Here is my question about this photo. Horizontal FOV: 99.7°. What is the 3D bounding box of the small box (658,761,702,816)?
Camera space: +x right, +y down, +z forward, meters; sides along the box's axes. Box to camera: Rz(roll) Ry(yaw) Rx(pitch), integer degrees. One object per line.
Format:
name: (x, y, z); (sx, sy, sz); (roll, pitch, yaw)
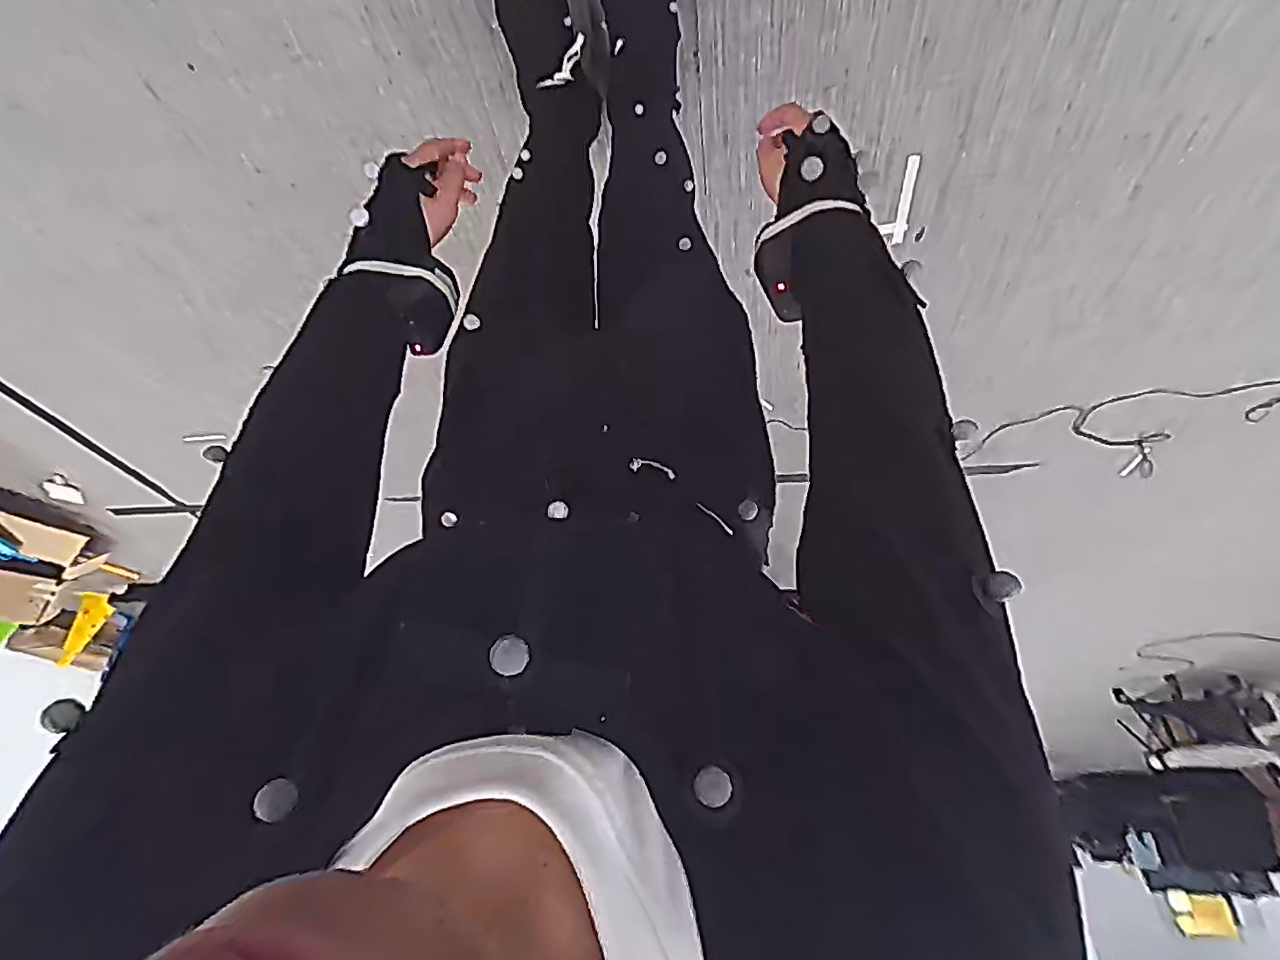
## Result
small box: (0.160, 1.211, 2.121); (0.168, 0.176, 0.179); (-3, 144, 6)
